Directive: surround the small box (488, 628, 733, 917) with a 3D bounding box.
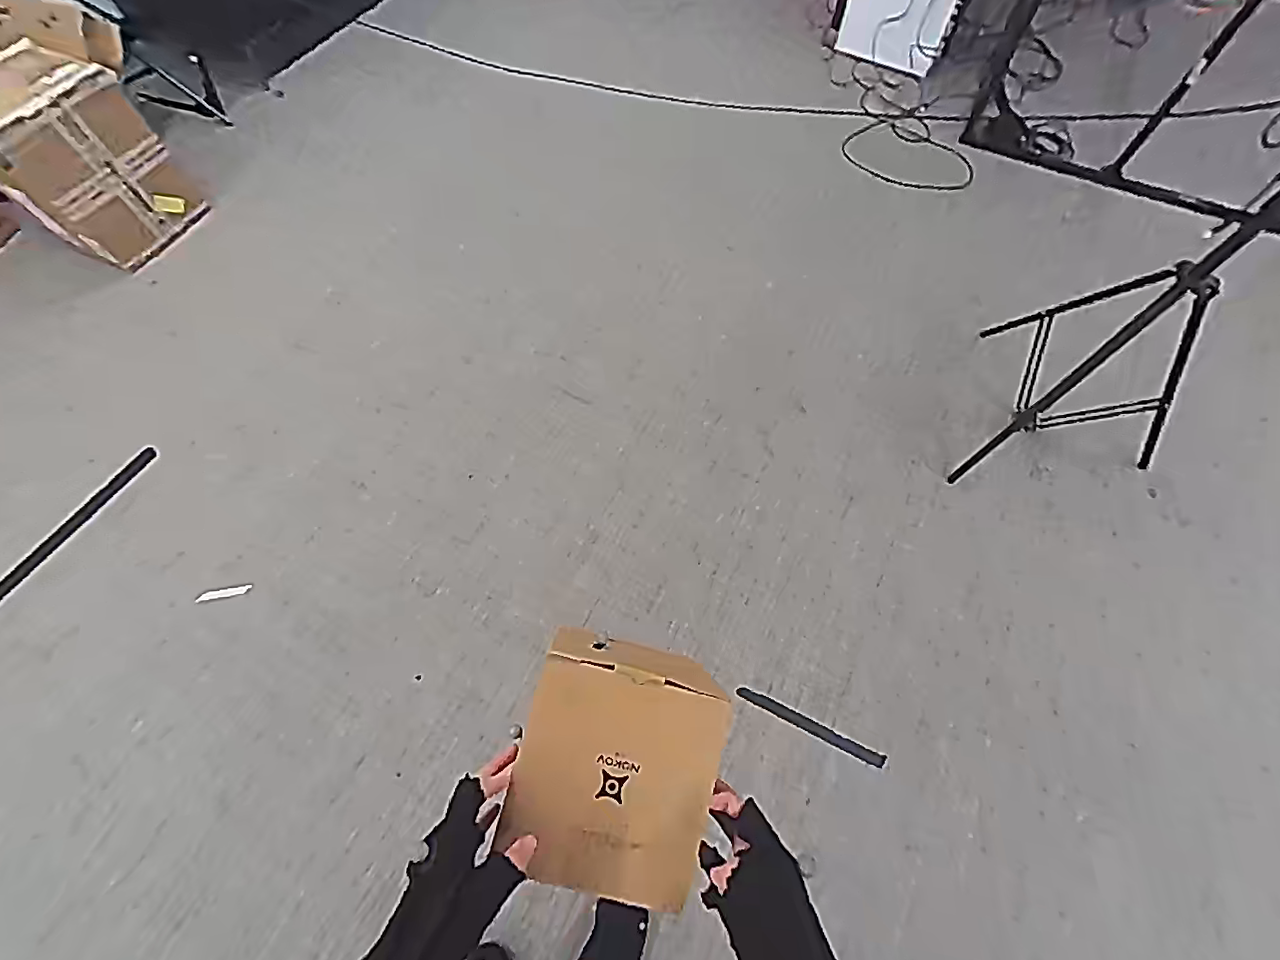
[{"bbox_3d":[-0.026,0.252,0.515,0.168,0.176,0.179,15,82,-1],"label":"small box"}]
